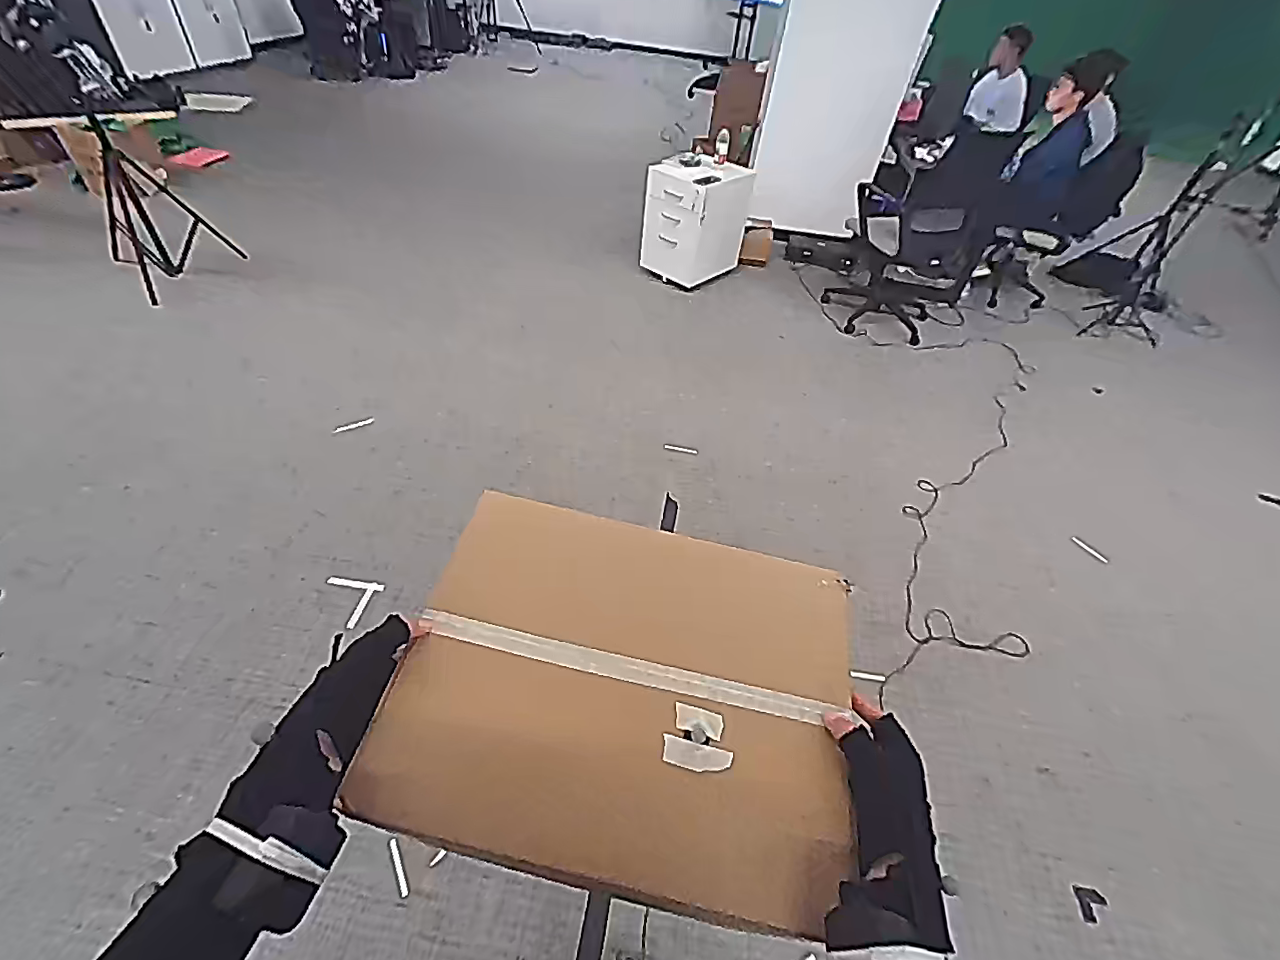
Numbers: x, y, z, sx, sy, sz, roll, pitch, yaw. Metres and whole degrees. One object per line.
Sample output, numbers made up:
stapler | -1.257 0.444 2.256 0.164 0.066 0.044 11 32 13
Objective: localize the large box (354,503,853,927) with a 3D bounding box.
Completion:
large box | -0.023 0.271 0.622 0.408 0.320 0.320 13 53 2
